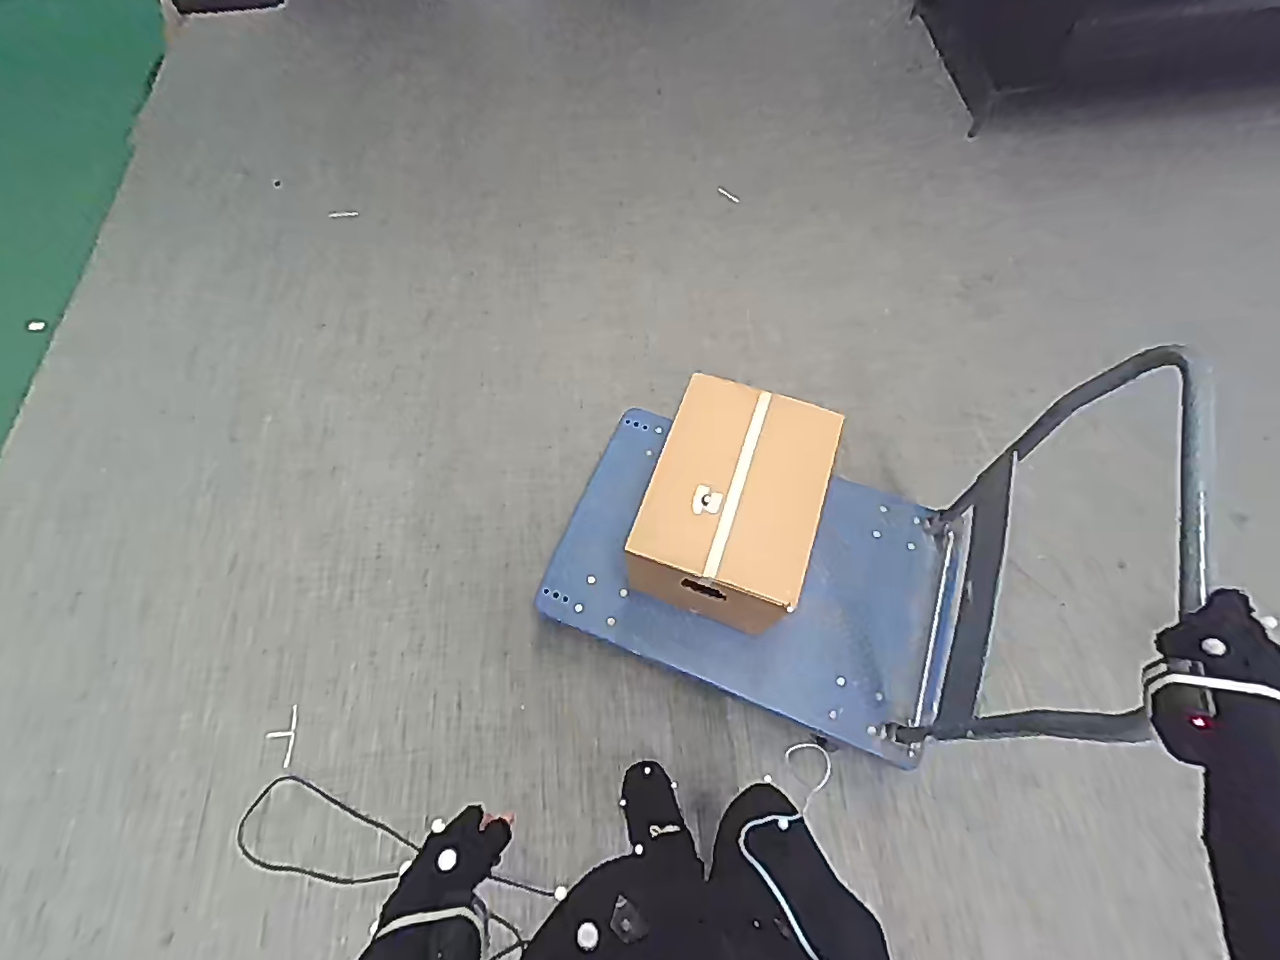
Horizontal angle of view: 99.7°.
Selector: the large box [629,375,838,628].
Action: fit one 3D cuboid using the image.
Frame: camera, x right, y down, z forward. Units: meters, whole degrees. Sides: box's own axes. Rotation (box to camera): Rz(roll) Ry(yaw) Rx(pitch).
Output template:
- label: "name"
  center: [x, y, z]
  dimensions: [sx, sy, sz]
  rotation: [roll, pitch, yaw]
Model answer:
- label: "large box"
  center: [0.188, 0.055, 1.147]
  dimensions: [0.320, 0.320, 0.408]
  rotation: [17, 69, 10]
